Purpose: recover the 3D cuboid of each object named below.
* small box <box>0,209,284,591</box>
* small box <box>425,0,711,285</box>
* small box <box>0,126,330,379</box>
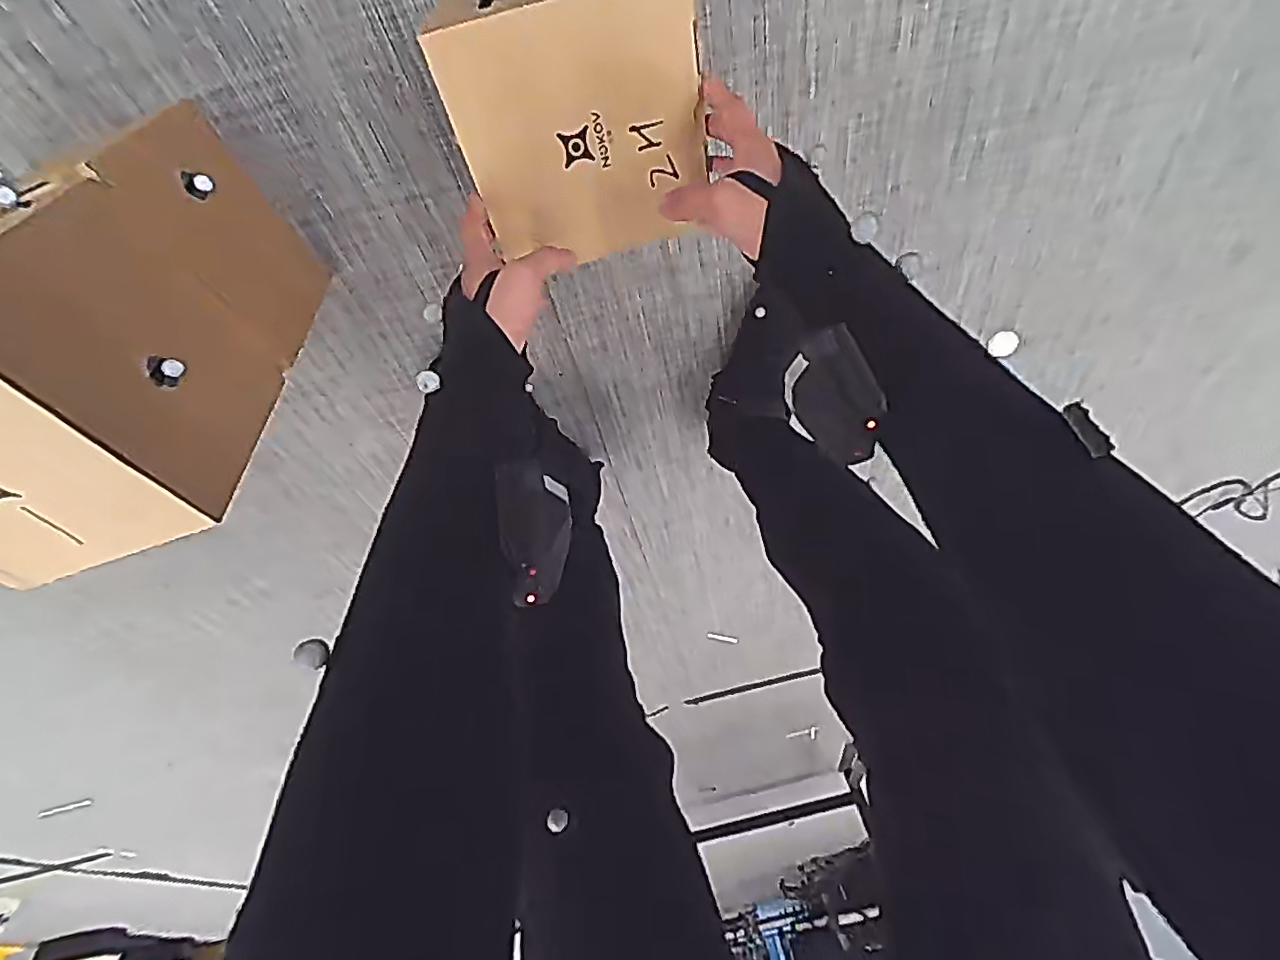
[{"bbox_3d":[-0.393,-0.057,0.367,0.168,0.176,0.179,-17,138,5],"label":"small box"},{"bbox_3d":[-0.051,-0.292,0.445,0.179,0.176,0.168,-15,138,0],"label":"small box"},{"bbox_3d":[-0.414,-0.179,0.474,0.168,0.176,0.179,-19,137,6],"label":"small box"}]
